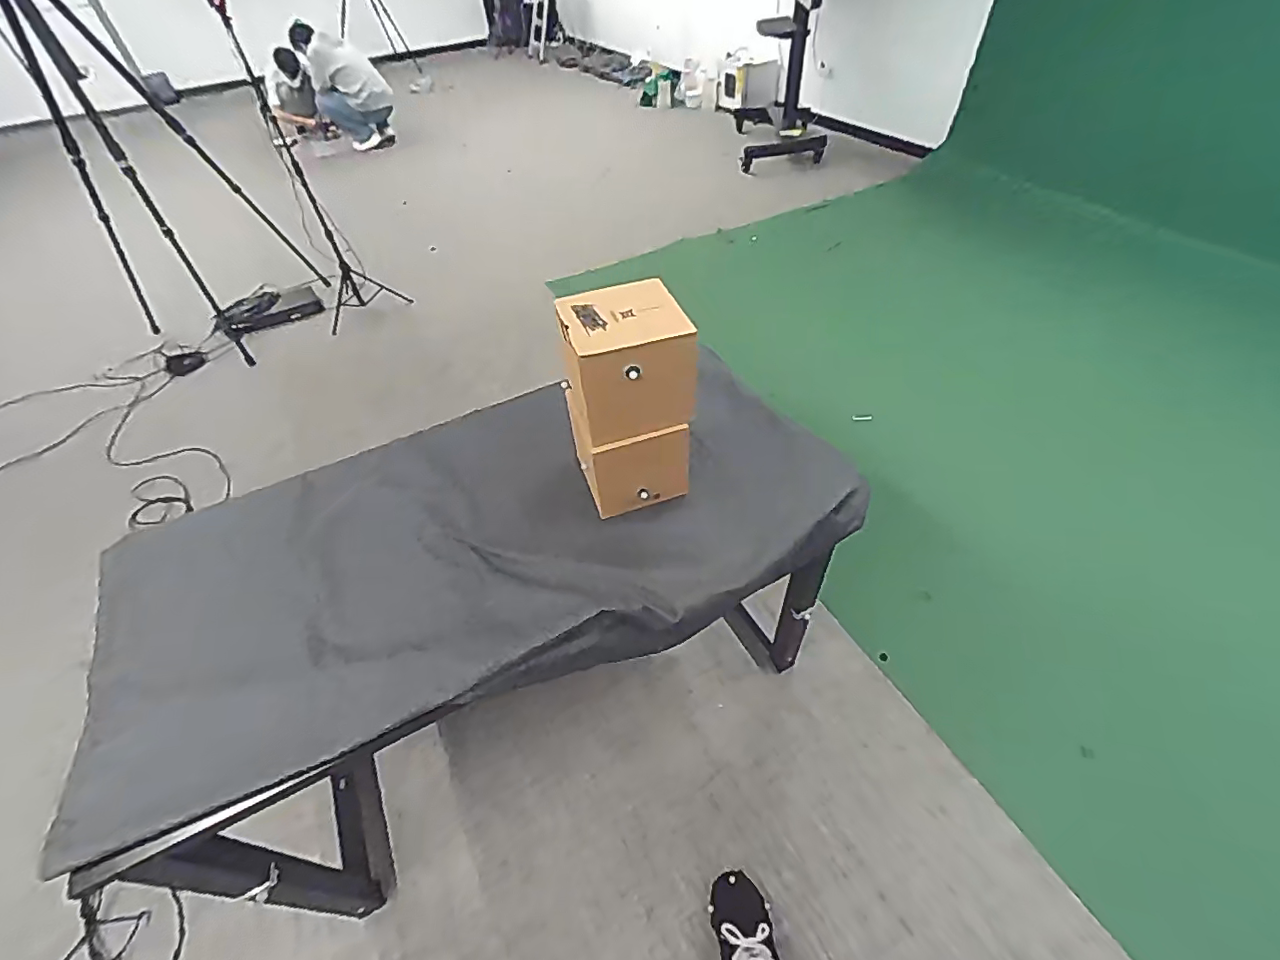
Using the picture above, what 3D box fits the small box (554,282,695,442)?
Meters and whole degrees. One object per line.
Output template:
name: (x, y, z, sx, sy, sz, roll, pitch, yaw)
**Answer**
small box: (-0.022, -0.182, 0.852, 0.179, 0.176, 0.168, -16, 49, -10)
